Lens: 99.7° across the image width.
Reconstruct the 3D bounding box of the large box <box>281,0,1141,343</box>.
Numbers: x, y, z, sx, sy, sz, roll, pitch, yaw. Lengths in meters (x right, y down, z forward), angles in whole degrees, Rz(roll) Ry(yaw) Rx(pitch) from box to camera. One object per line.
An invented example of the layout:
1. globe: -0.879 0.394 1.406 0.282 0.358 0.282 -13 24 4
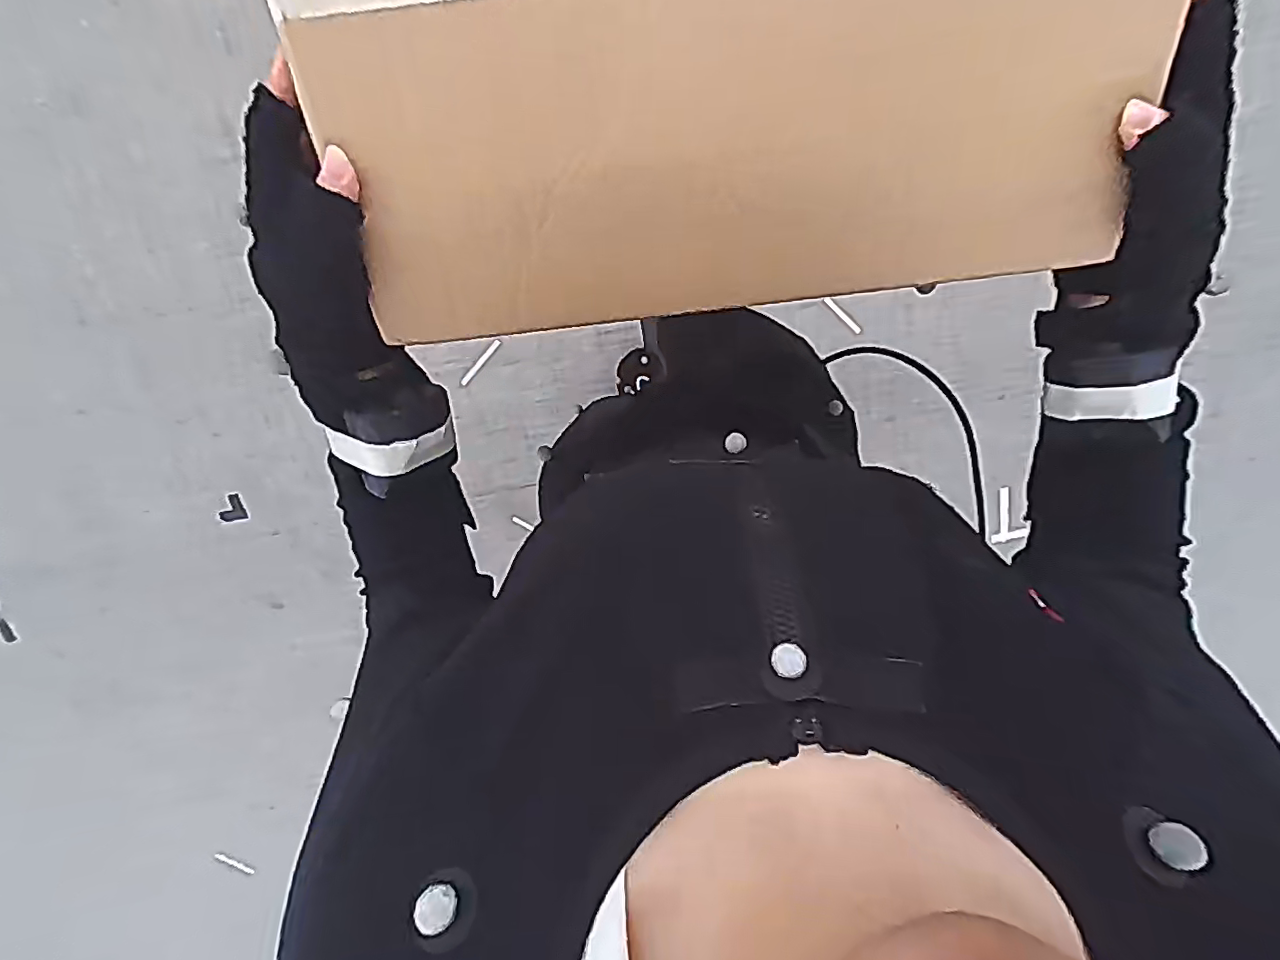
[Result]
1. large box: 0.031 -0.309 0.369 0.408 0.320 0.320 -7 117 2
